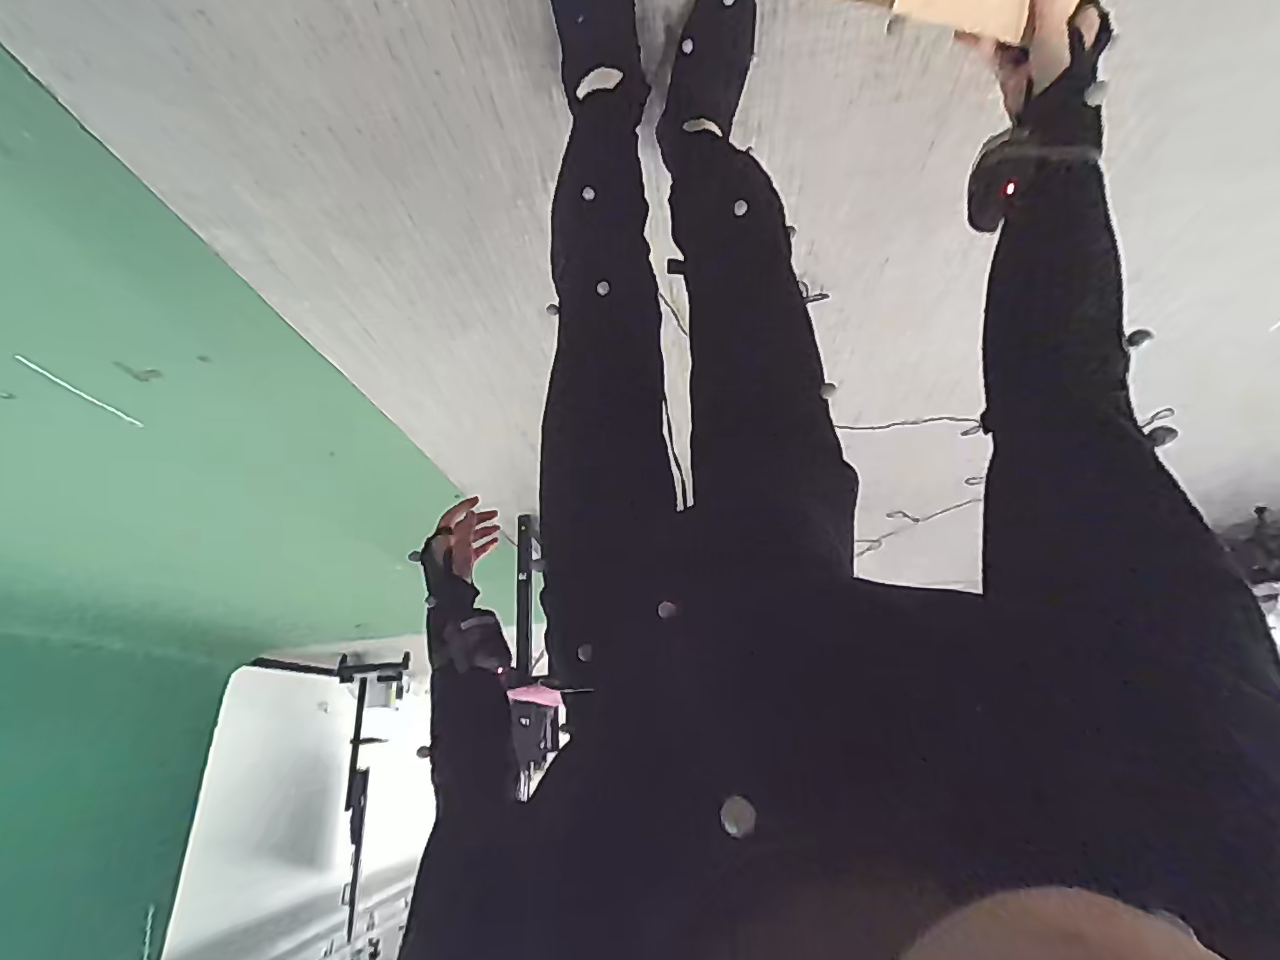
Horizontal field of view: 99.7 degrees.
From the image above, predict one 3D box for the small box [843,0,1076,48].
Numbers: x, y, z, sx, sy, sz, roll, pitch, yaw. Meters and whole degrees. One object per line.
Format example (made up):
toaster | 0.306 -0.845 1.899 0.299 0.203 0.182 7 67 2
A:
small box | 0.262 -0.477 0.427 0.168 0.176 0.179 -1 134 -17
